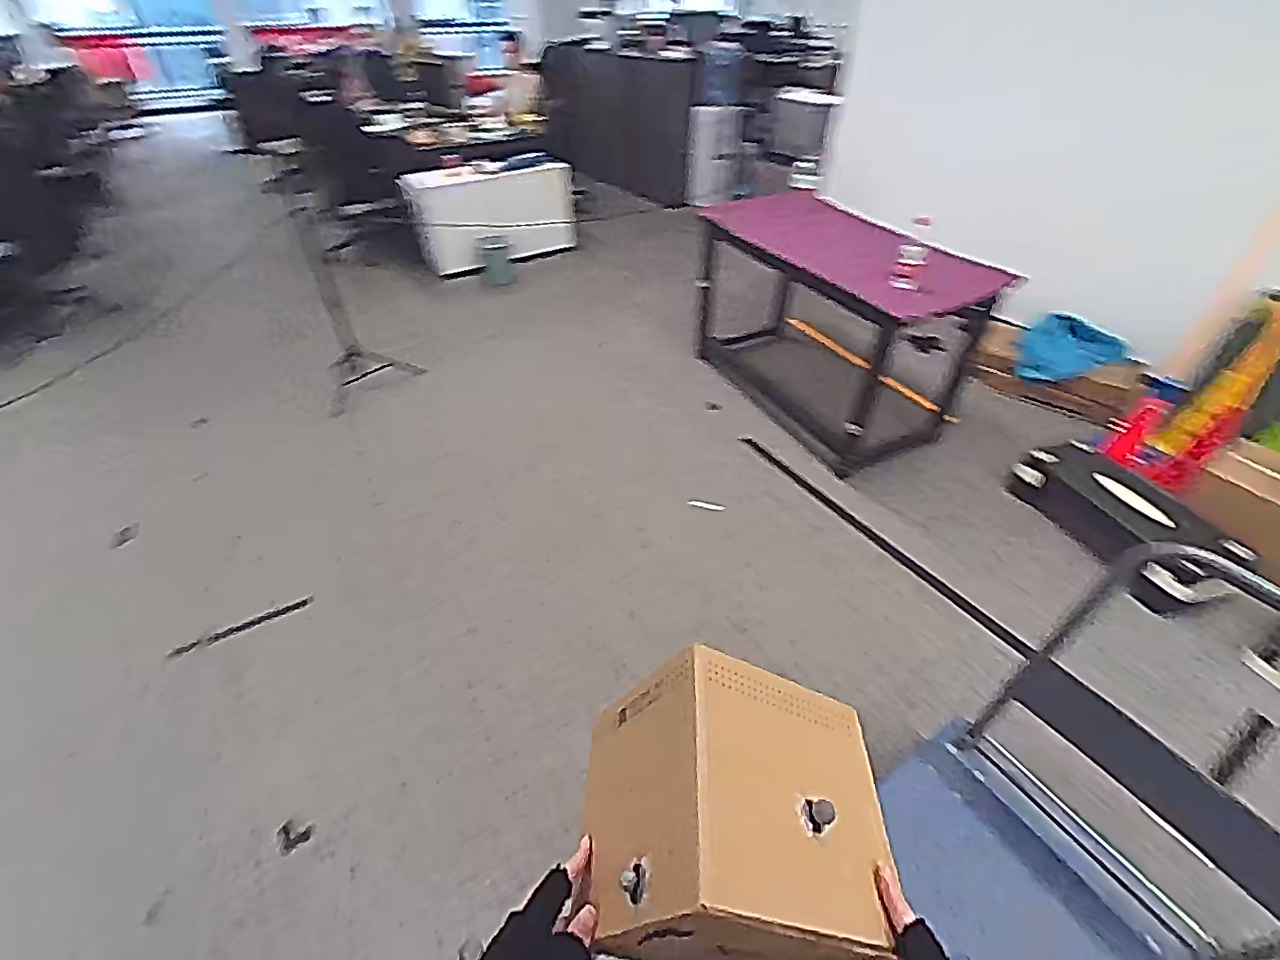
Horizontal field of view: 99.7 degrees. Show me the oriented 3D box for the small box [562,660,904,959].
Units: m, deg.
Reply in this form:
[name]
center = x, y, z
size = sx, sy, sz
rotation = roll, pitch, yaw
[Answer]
[small box]
center = 0.061, 0.267, 0.428
size = 0.179, 0.168, 0.176
rotation = 26, 36, -20
